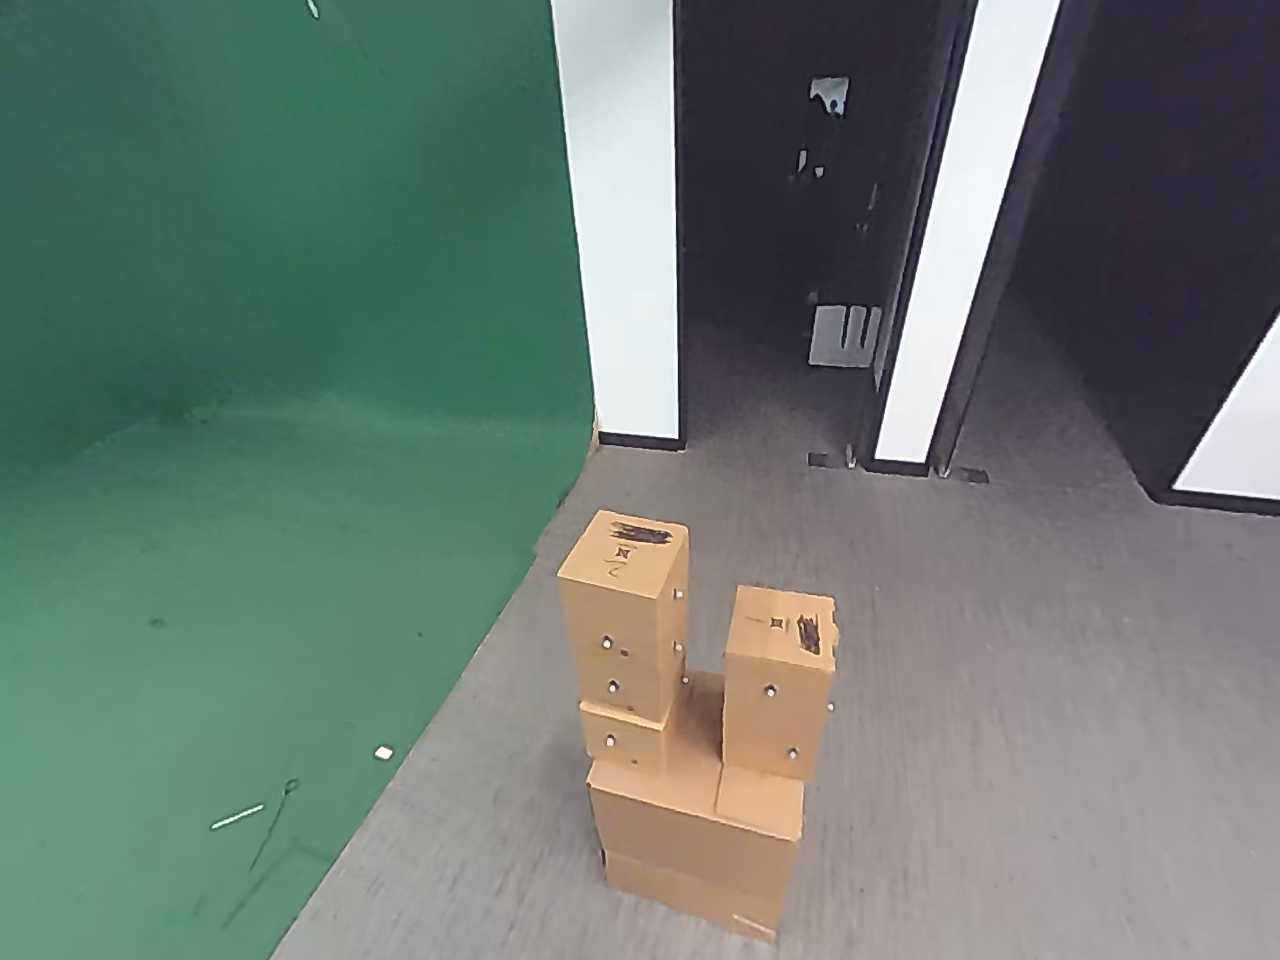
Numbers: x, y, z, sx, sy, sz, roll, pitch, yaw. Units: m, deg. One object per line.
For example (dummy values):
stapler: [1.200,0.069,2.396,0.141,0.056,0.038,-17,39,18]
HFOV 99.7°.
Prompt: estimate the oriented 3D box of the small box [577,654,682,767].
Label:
small box: [-0.012,0.447,1.101,0.168,0.176,0.179,9,36,15]

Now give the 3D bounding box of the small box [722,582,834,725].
small box: [0.250,0.315,0.984,0.179,0.176,0.168,6,35,16]

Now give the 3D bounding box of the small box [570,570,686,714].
small box: [-0.014,0.304,1.018,0.168,0.176,0.179,11,37,16]

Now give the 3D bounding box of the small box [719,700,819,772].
small box: [0.256,0.450,1.078,0.179,0.176,0.168,6,35,15]
